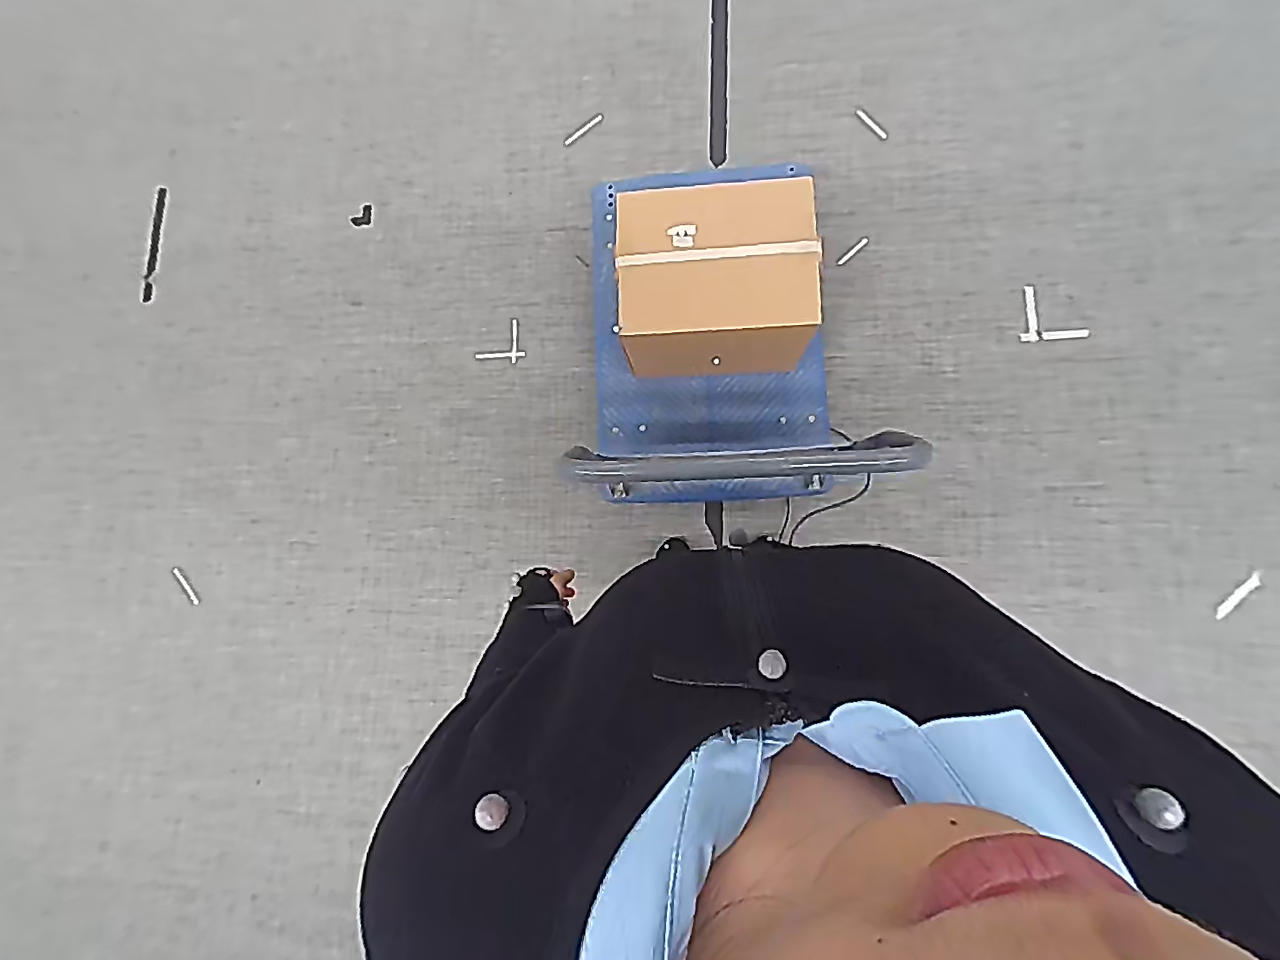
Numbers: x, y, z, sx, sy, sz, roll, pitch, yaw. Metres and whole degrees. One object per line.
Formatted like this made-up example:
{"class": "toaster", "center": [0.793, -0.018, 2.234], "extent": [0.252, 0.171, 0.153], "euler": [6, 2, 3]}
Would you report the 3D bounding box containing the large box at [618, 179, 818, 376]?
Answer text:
{"class": "large box", "center": [0.174, -0.444, 1.265], "extent": [0.408, 0.320, 0.320], "euler": [-2, 83, 7]}
